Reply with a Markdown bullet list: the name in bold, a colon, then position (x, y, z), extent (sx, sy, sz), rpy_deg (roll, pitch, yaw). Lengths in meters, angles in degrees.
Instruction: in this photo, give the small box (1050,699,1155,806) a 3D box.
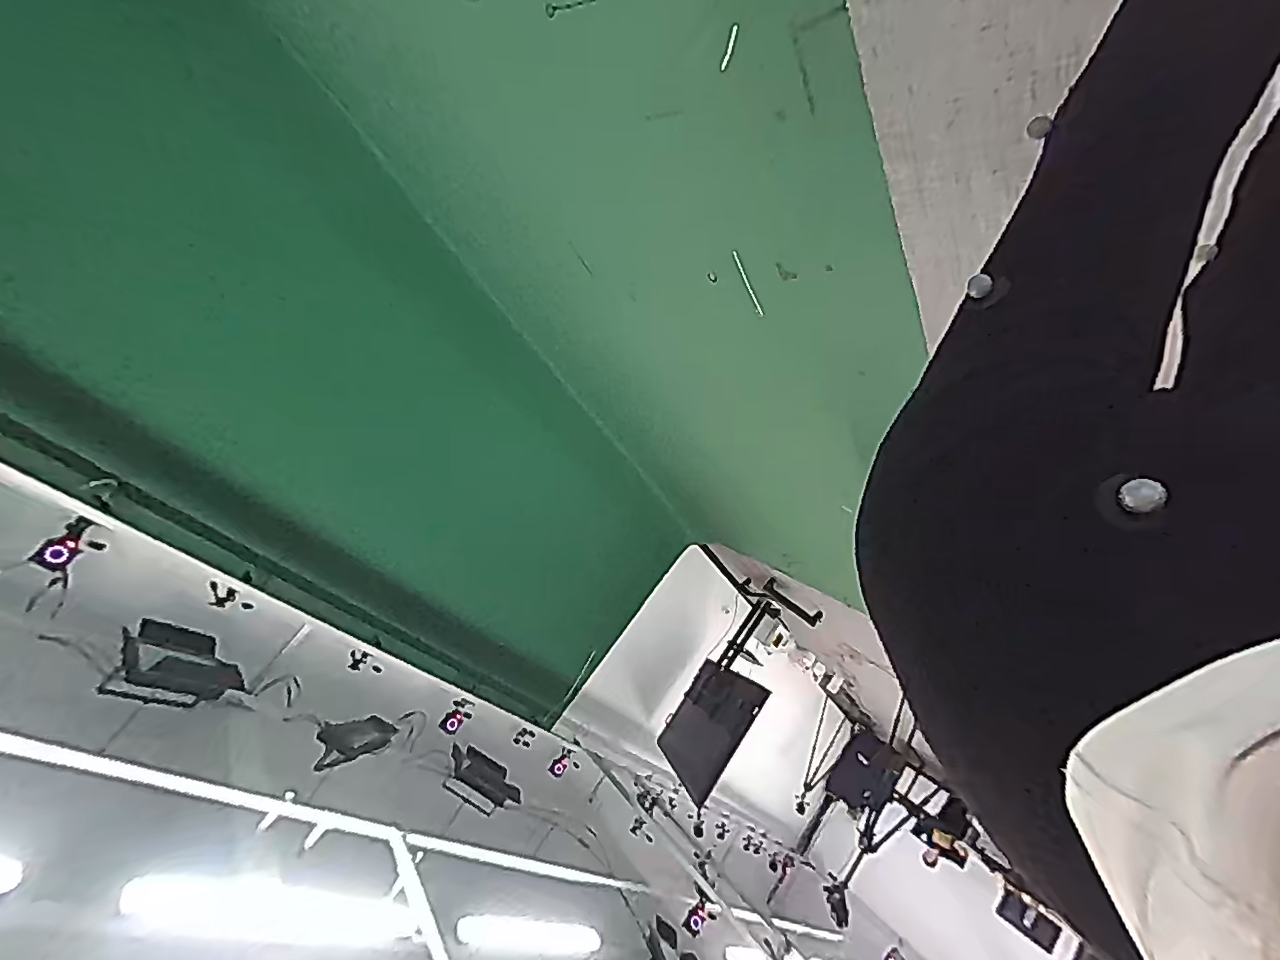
- **small box**: position (1.263, 0.736, 1.472), extent (0.179, 0.176, 0.168), rpy_deg (45, 164, -30)
